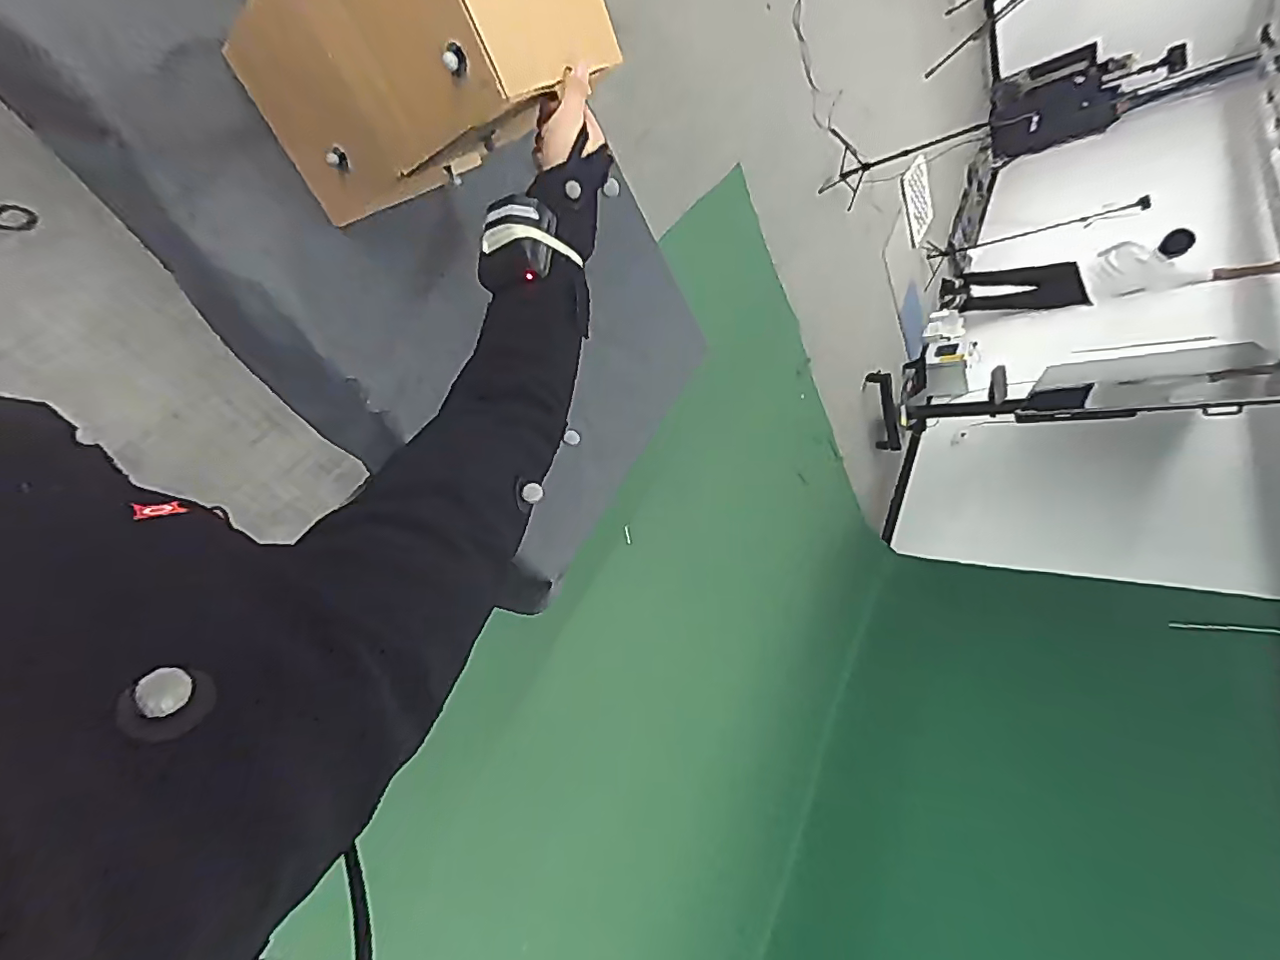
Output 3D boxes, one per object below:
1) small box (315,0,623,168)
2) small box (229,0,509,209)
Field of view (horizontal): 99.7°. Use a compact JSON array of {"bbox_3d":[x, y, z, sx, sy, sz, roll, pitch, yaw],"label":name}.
[{"bbox_3d":[-0.151,-0.407,0.465,0.168,0.176,0.179,-50,128,-36],"label":"small box"},{"bbox_3d":[-0.276,-0.408,0.569,0.168,0.176,0.179,-51,127,-36],"label":"small box"}]
